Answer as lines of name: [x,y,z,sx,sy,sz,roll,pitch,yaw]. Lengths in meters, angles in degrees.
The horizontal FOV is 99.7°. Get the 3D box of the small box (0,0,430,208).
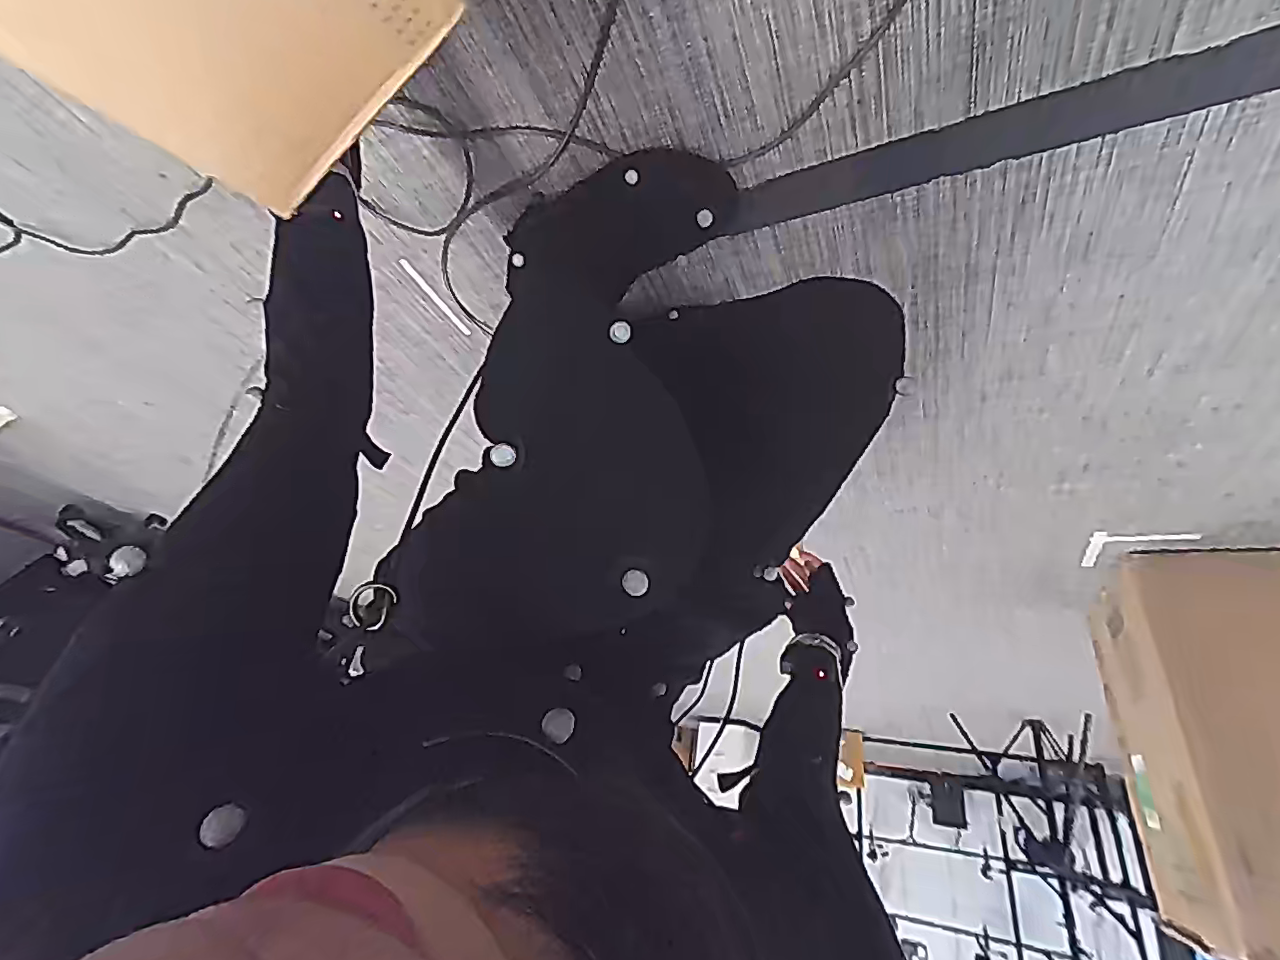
small box: [-0.209,-0.281,0.246,0.176,0.179,0.168,-24,154,28]
